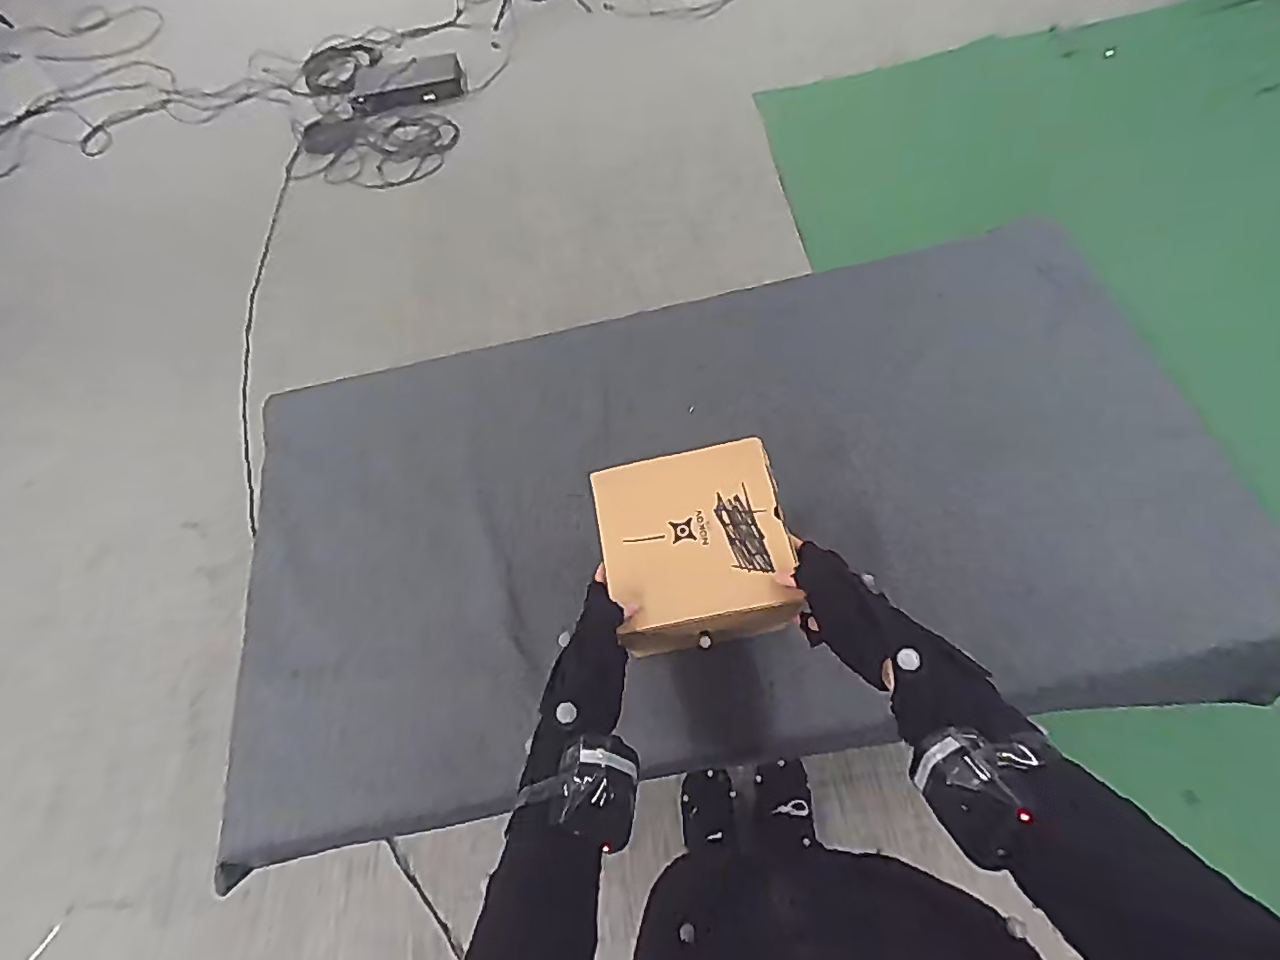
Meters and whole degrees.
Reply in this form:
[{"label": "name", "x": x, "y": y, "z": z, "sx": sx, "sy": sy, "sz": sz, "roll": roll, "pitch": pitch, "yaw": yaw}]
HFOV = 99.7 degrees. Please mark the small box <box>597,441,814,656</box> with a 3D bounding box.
[{"label": "small box", "x": 0.062, "y": 0.083, "z": 0.589, "sx": 0.179, "sy": 0.176, "sz": 0.168, "roll": -14, "pitch": 65, "yaw": -1}]
